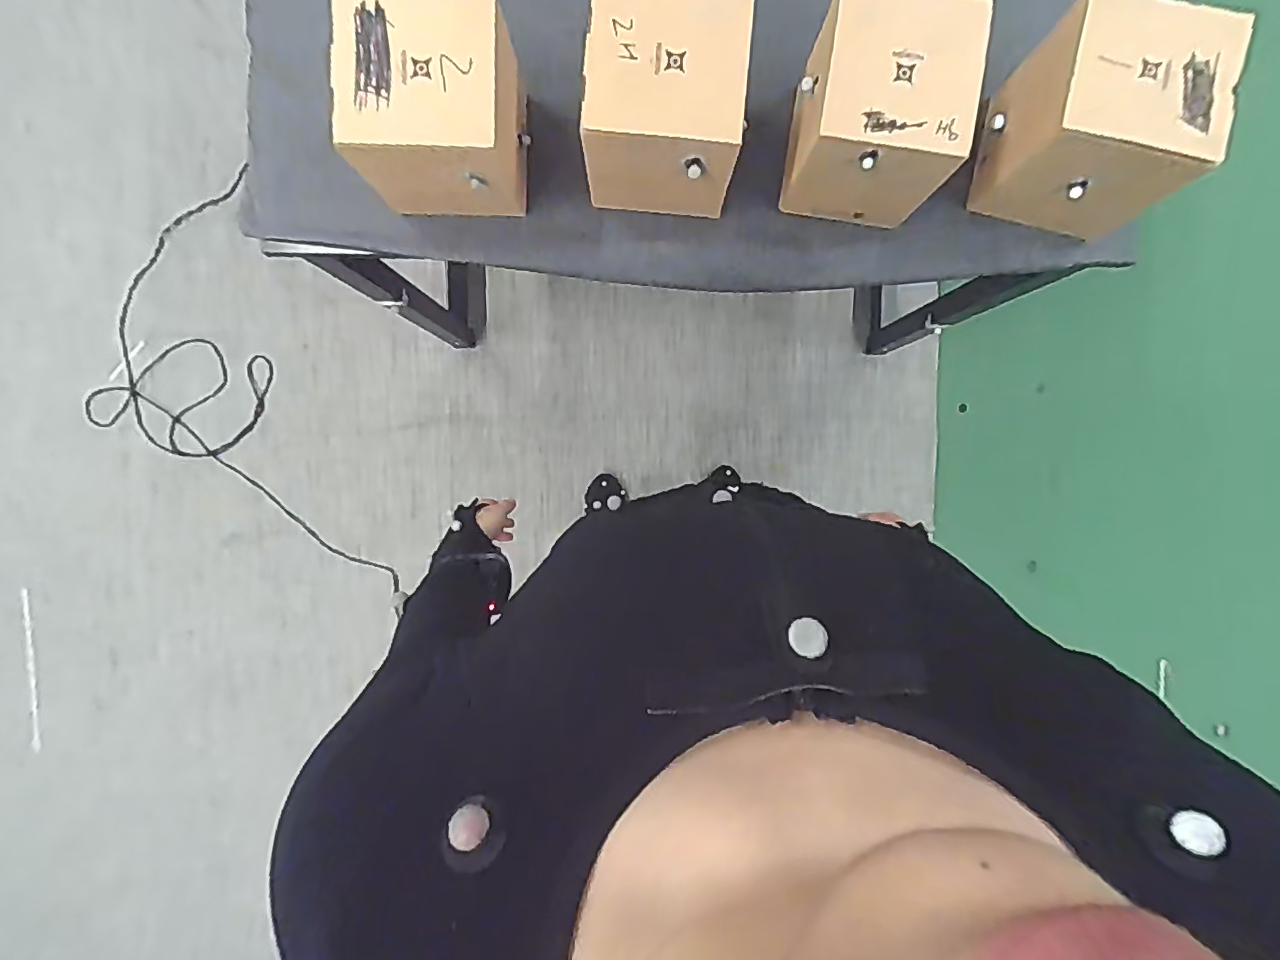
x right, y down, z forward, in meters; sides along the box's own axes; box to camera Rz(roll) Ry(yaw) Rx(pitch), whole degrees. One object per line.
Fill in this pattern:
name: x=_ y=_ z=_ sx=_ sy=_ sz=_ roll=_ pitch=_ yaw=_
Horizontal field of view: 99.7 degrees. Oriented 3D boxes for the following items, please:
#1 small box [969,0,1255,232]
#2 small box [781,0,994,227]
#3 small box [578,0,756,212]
small box: x=0.541 y=-0.423 z=0.645 sx=0.179 sy=0.176 sz=0.168 roll=14 pitch=88 yaw=1
small box: x=0.280 y=-0.439 z=0.650 sx=0.168 sy=0.176 sz=0.179 roll=9 pitch=90 yaw=0
small box: x=0.029 y=-0.445 z=0.650 sx=0.179 sy=0.176 sz=0.168 roll=6 pitch=91 yaw=1
